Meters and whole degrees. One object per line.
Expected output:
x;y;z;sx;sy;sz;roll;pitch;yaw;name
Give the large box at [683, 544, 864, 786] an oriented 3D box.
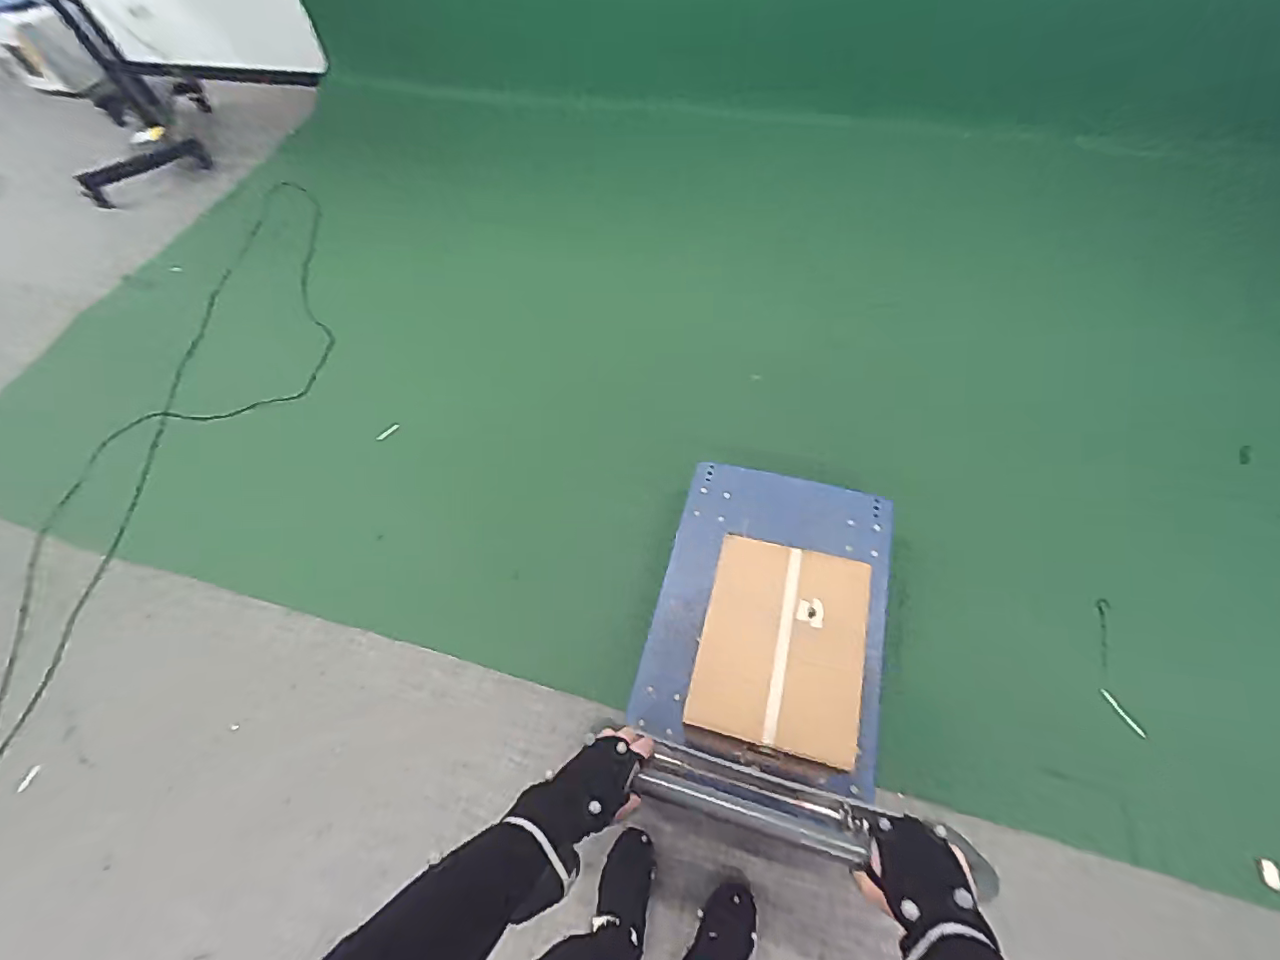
0.292;0.414;1.207;0.320;0.320;0.408;12;60;12;large box
